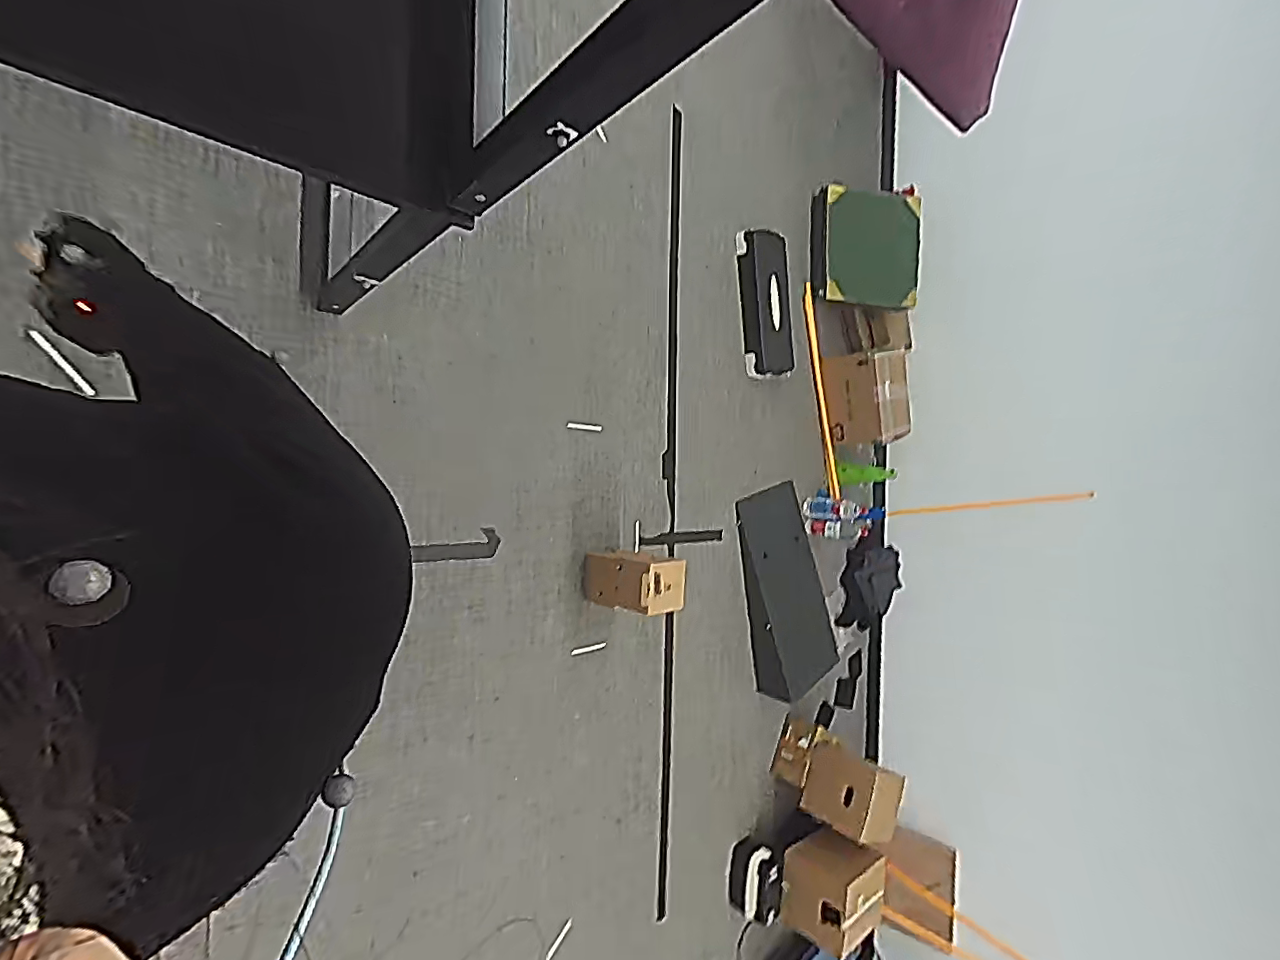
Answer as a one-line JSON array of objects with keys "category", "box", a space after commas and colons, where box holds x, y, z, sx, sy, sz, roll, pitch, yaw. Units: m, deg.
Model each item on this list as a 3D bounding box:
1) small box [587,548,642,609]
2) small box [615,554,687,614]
[{"category": "small box", "box": [-0.076, 0.345, 1.923, 0.168, 0.176, 0.179, -1, 92, -43]}, {"category": "small box", "box": [0.034, 0.340, 1.801, 0.179, 0.176, 0.168, 3, 90, -44]}]
